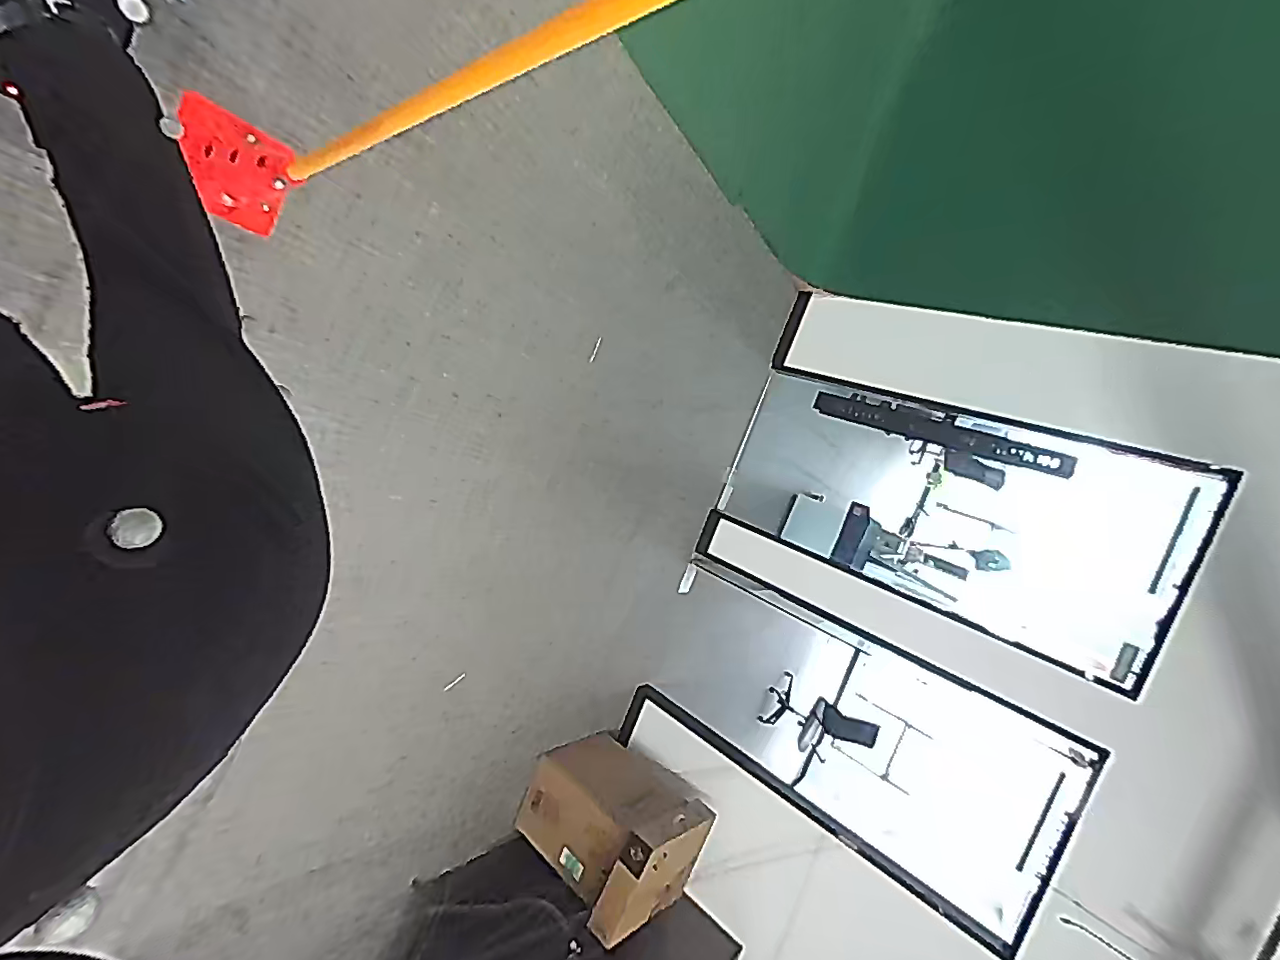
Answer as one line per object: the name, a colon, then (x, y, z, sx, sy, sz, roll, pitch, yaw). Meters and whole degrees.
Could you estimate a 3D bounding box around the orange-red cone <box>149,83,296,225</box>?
orange-red cone: (-0.732, -0.602, 1.011, 0.199, 0.360, 0.198, 19, 94, -54)
